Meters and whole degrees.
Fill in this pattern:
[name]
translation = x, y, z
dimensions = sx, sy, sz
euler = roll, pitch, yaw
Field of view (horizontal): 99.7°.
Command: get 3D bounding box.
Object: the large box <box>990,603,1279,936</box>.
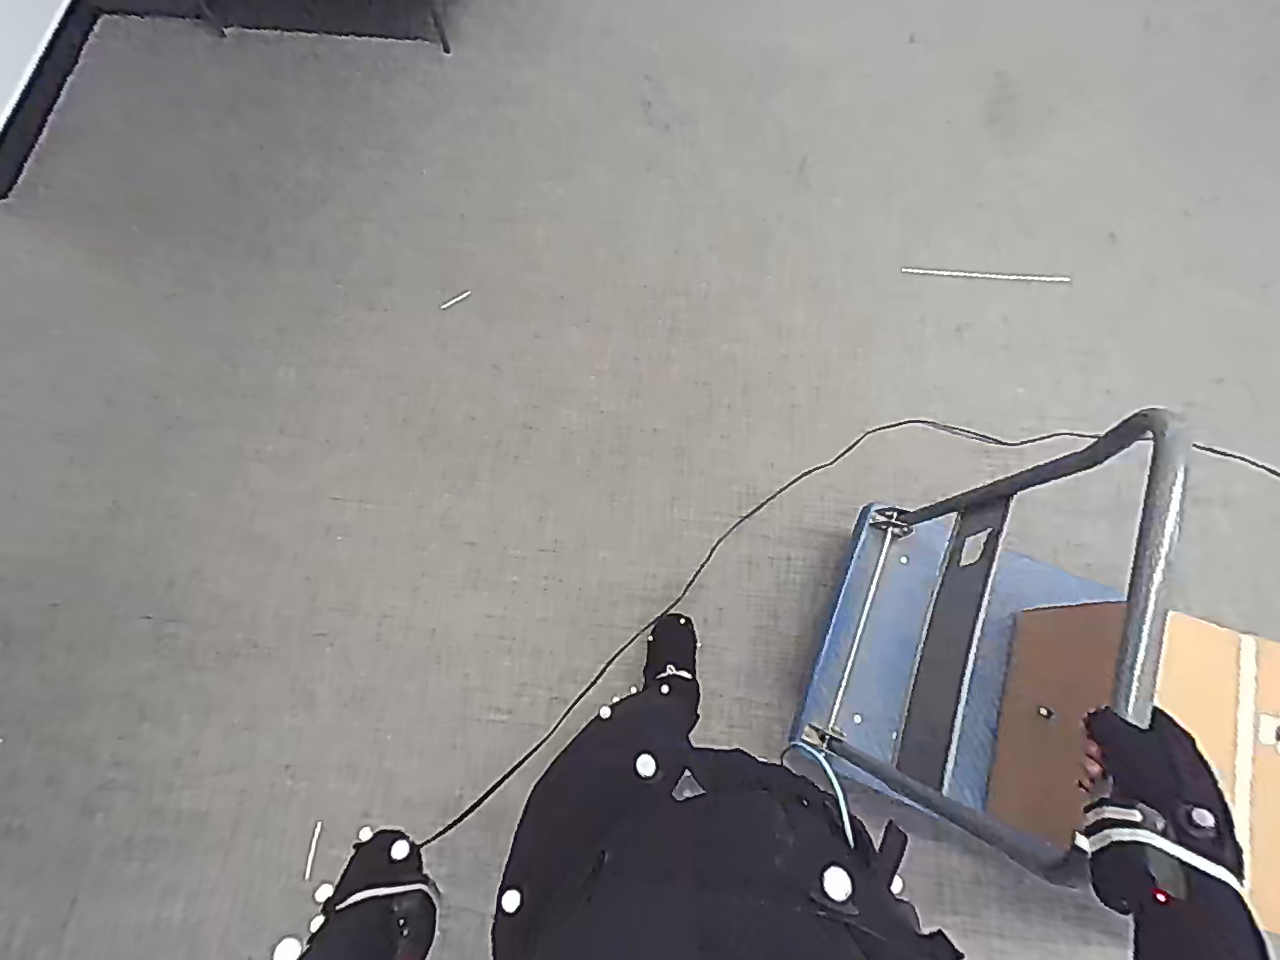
[large box]
translation = 0.870, 0.468, 0.937
dimensions = 0.320, 0.320, 0.408
euler = 18, 73, 6
